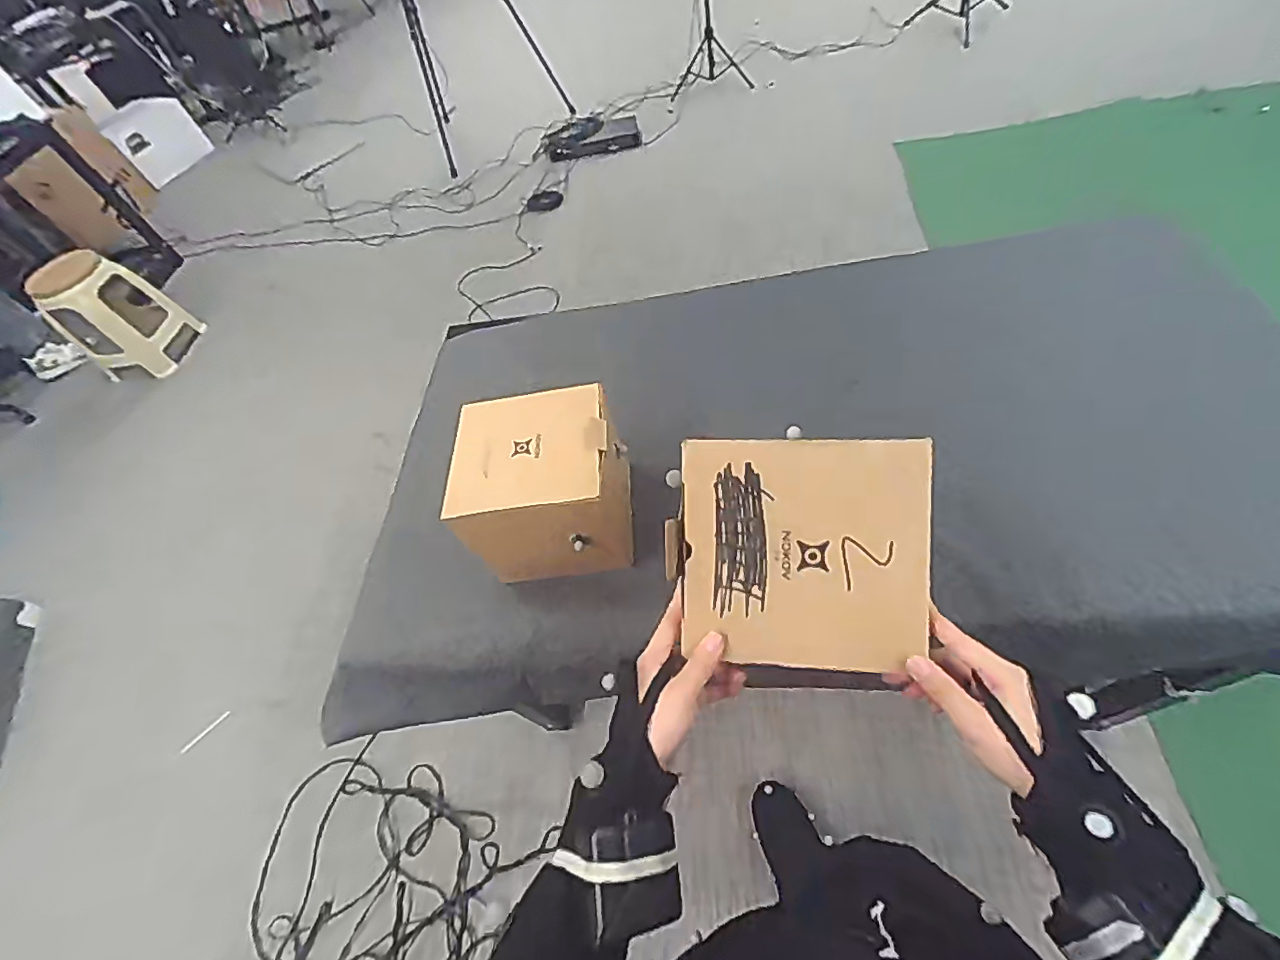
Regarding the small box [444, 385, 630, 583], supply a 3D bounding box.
[{"bbox_3d":[-0.109,0.012,0.662,0.179,0.176,0.168,-9,53,7],"label":"small box"}]
